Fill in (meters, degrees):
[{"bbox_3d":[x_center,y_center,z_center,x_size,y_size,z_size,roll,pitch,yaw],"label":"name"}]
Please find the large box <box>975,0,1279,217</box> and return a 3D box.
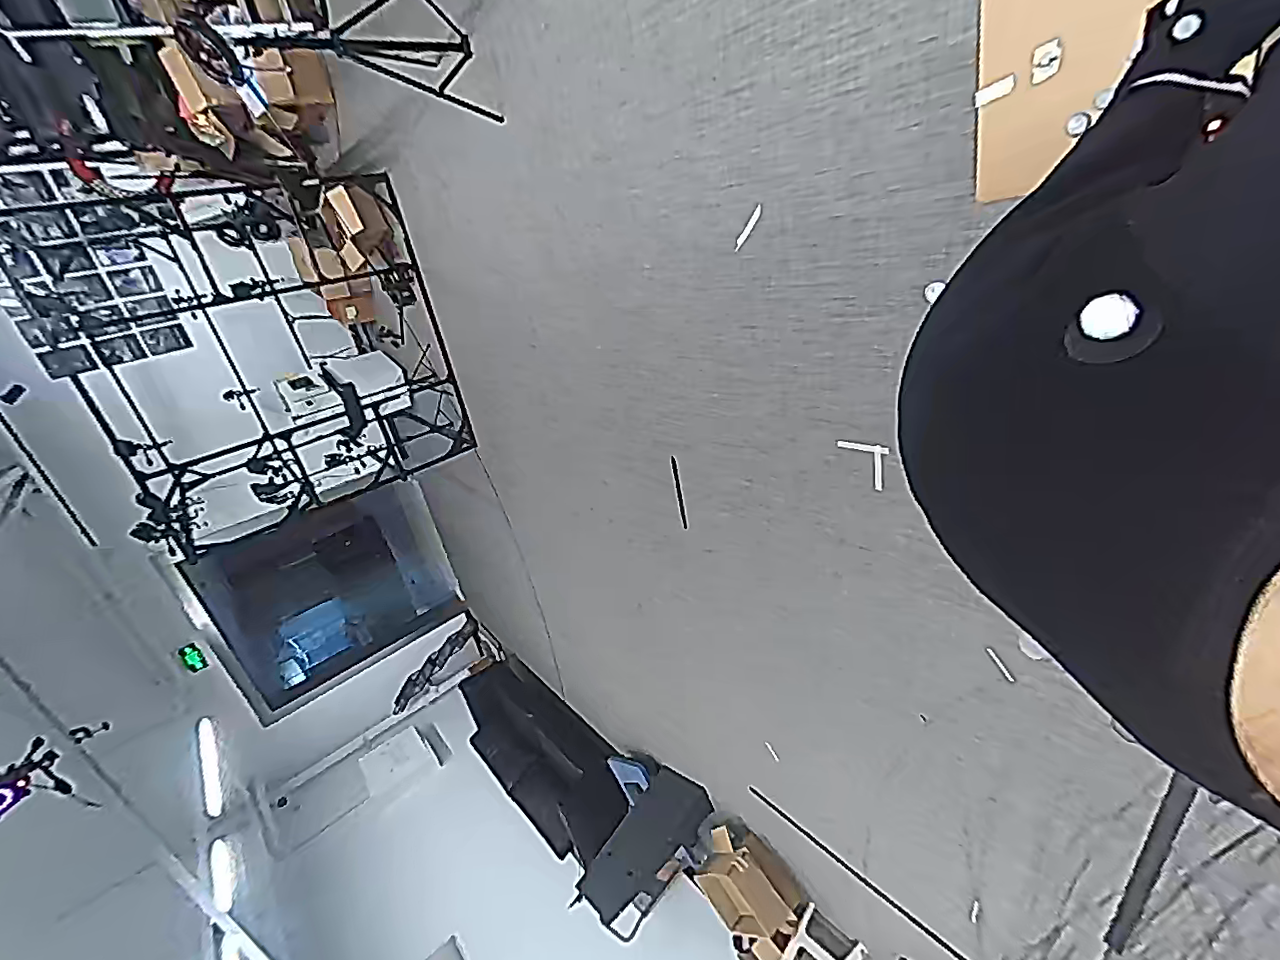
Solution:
[{"bbox_3d":[0.784,-0.650,0.872,0.320,0.408,0.320,15,127,48],"label":"large box"}]
